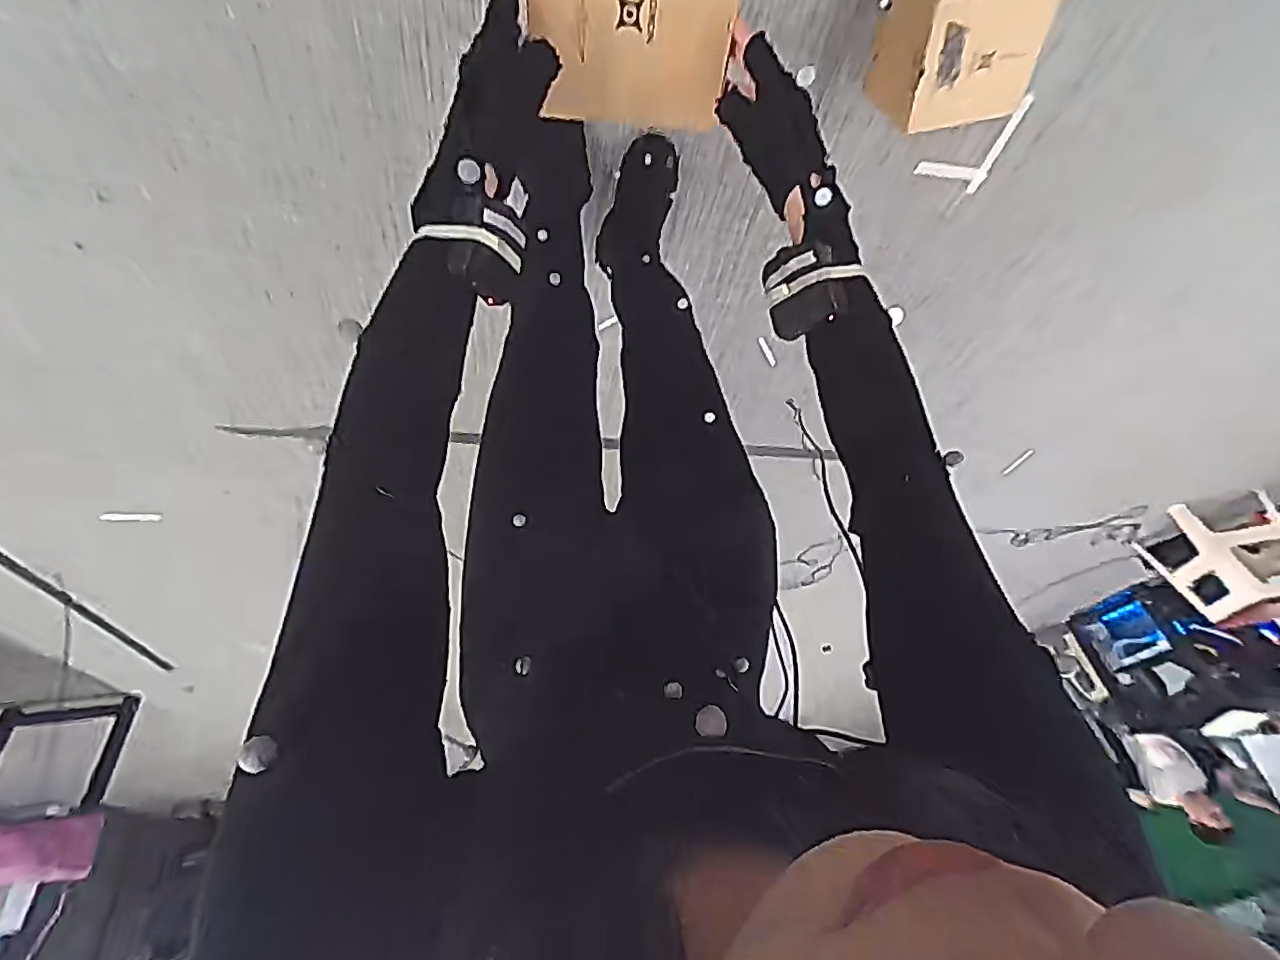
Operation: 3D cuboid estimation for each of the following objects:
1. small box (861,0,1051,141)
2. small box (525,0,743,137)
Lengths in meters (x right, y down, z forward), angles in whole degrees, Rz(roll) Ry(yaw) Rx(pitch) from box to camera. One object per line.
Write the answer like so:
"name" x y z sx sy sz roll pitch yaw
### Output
"small box" 0.465 -0.655 0.829 0.179 0.176 0.168 -10 144 1
"small box" -0.012 -0.441 0.484 0.179 0.176 0.168 1 145 -8
